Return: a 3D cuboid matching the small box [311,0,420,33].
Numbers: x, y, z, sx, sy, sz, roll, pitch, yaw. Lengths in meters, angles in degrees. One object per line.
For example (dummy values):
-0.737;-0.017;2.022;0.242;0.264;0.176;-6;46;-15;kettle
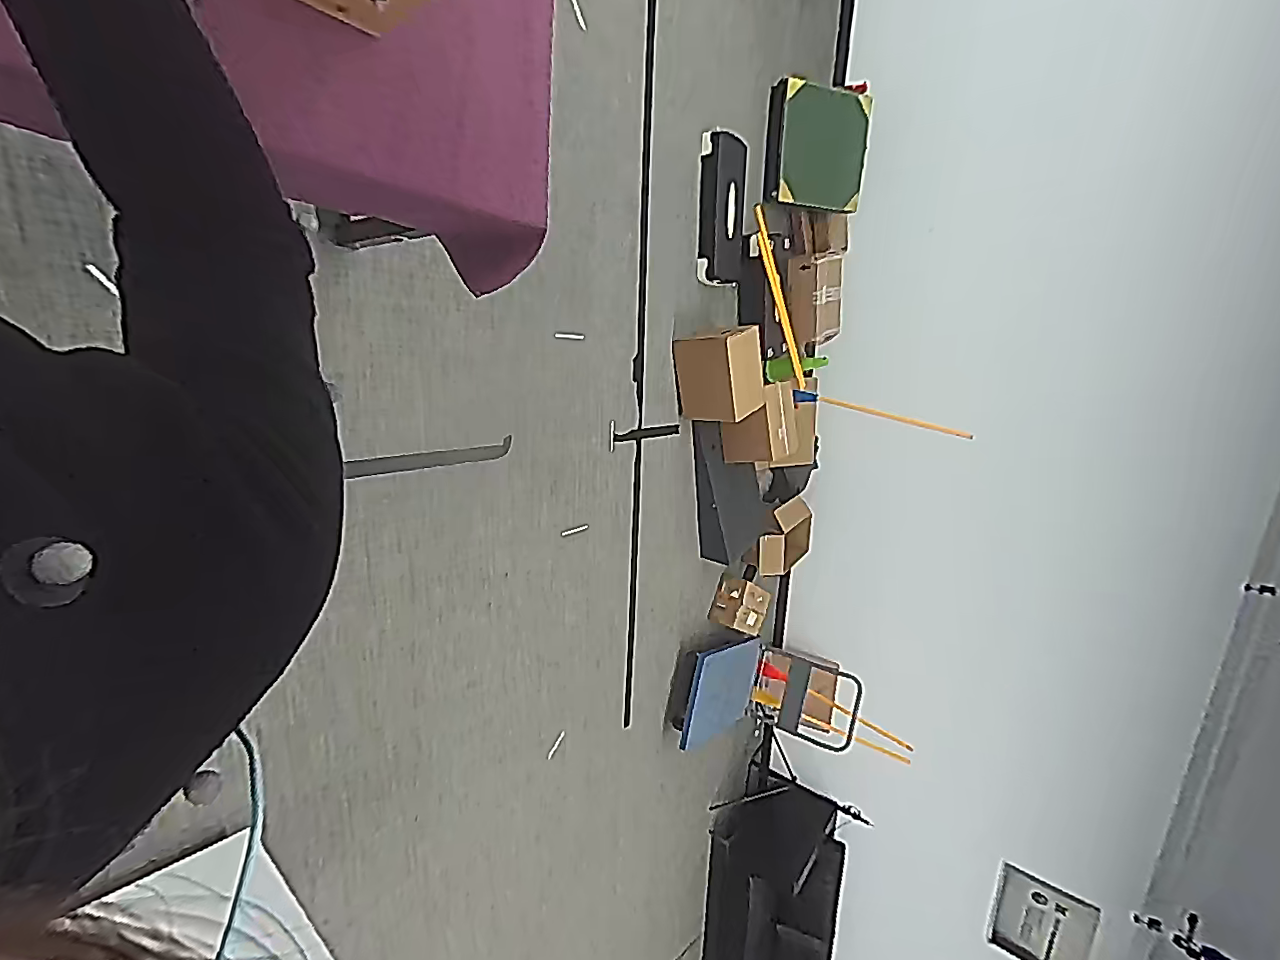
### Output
-0.337;-0.650;0.600;0.168;0.176;0.179;-14;111;-51;small box
